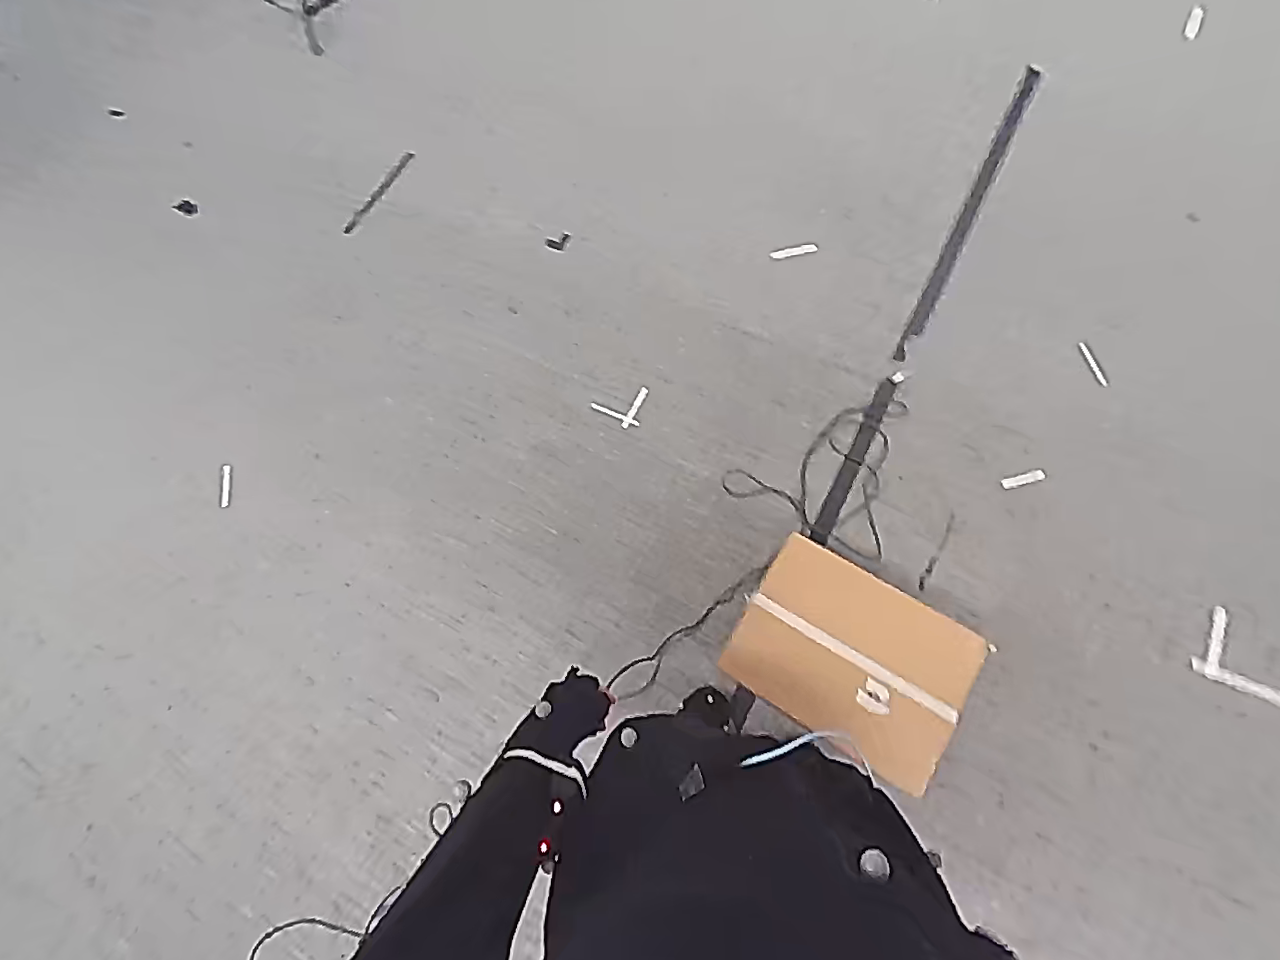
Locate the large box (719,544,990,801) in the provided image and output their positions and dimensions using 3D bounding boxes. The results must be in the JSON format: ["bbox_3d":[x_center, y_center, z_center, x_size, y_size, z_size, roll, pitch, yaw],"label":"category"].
[{"bbox_3d":[0.421,0.391,1.162,0.408,0.320,0.320,31,78,15],"label":"large box"}]
